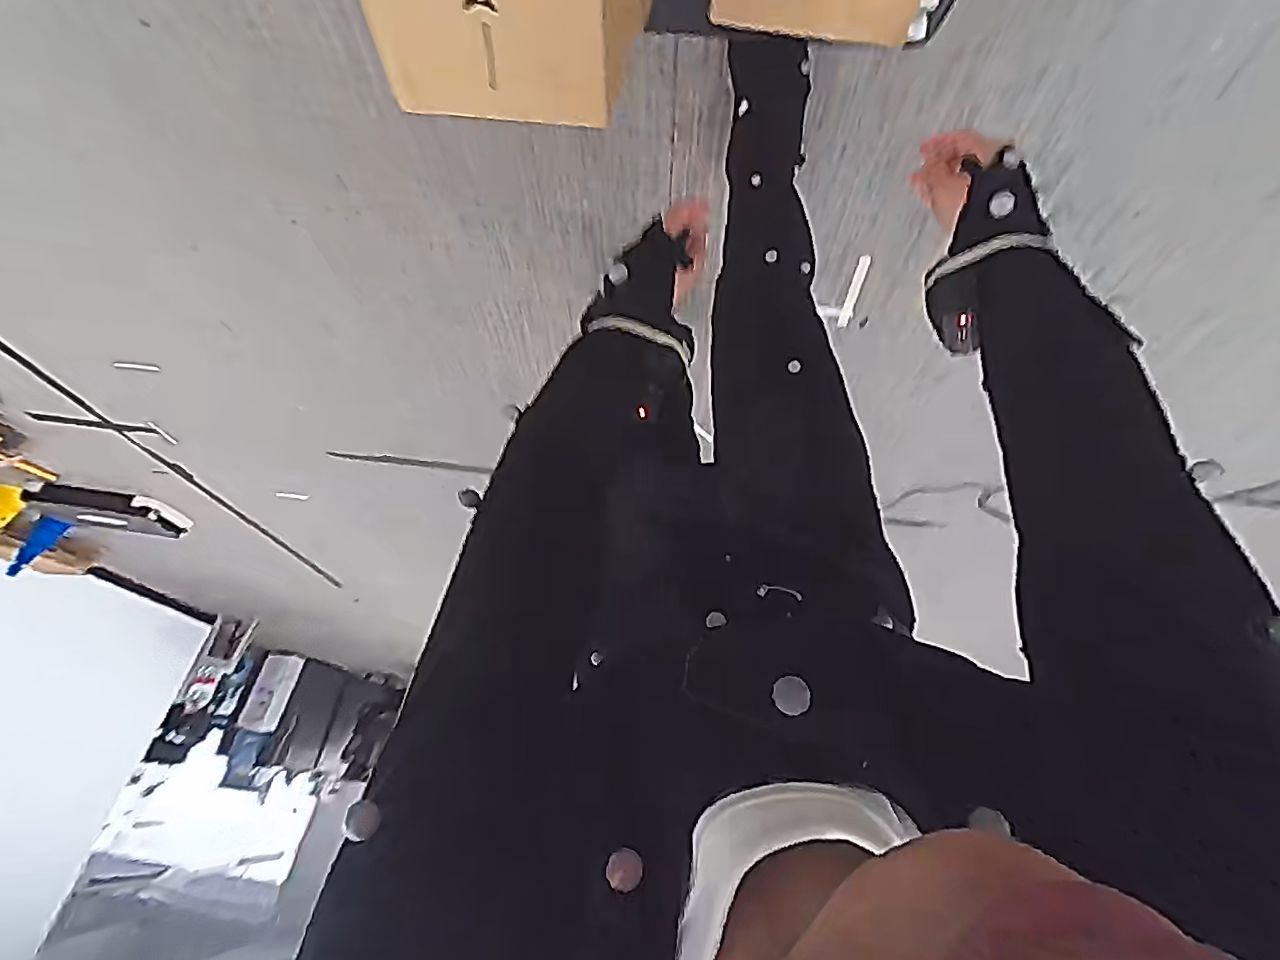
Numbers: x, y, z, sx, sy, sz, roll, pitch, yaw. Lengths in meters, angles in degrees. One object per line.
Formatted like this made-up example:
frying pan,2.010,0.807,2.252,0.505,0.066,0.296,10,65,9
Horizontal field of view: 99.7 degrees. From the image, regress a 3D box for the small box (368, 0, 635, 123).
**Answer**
small box,-0.092,-0.395,0.385,0.168,0.176,0.179,7,149,3
